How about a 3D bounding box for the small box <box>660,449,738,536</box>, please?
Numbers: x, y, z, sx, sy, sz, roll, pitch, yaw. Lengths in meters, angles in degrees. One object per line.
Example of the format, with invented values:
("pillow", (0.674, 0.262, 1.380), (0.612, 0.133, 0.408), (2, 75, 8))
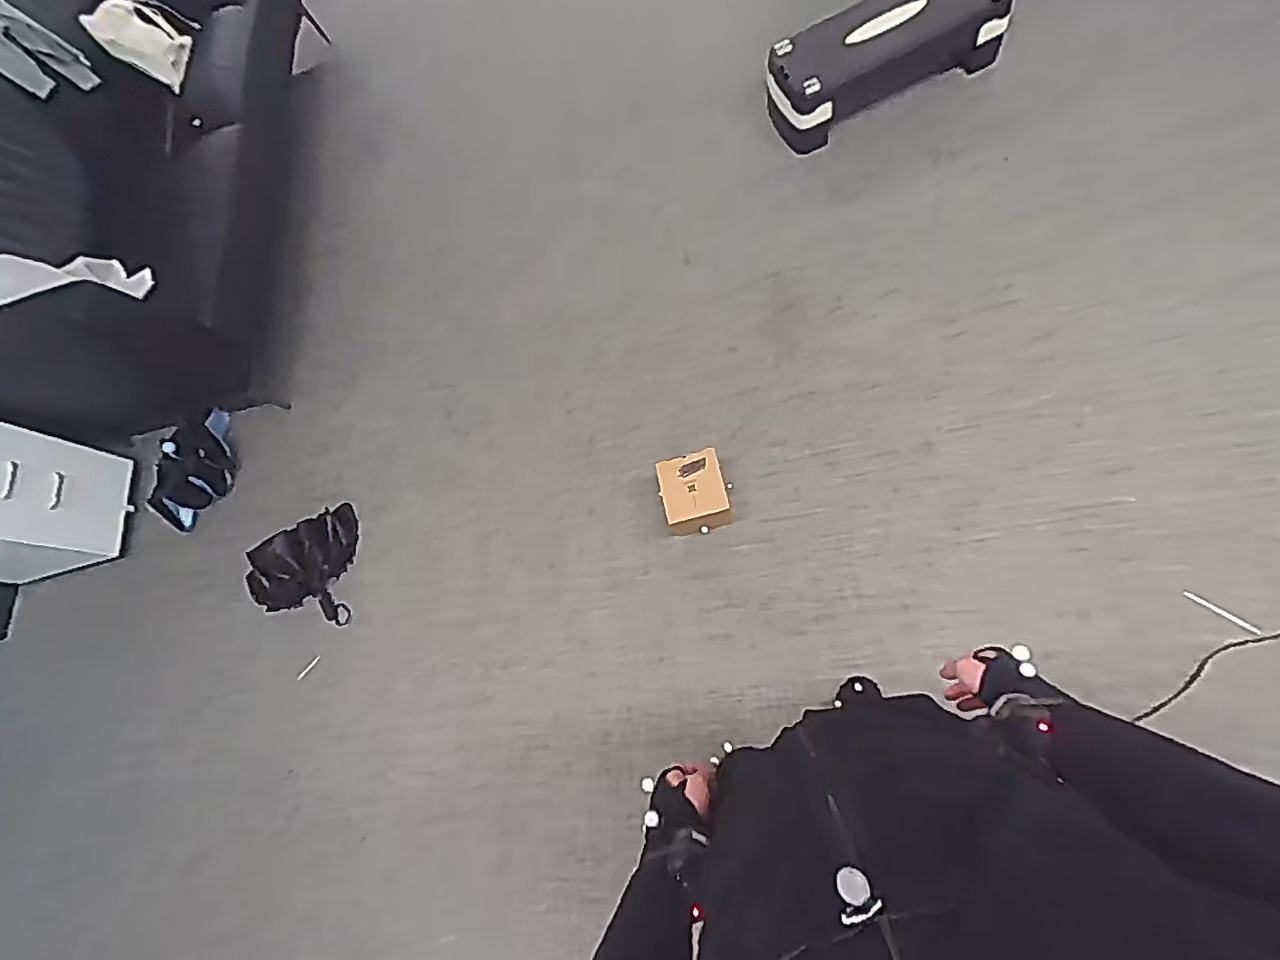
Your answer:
("small box", (0.165, 0.040, 1.478), (0.168, 0.176, 0.179), (-16, 70, 12))
